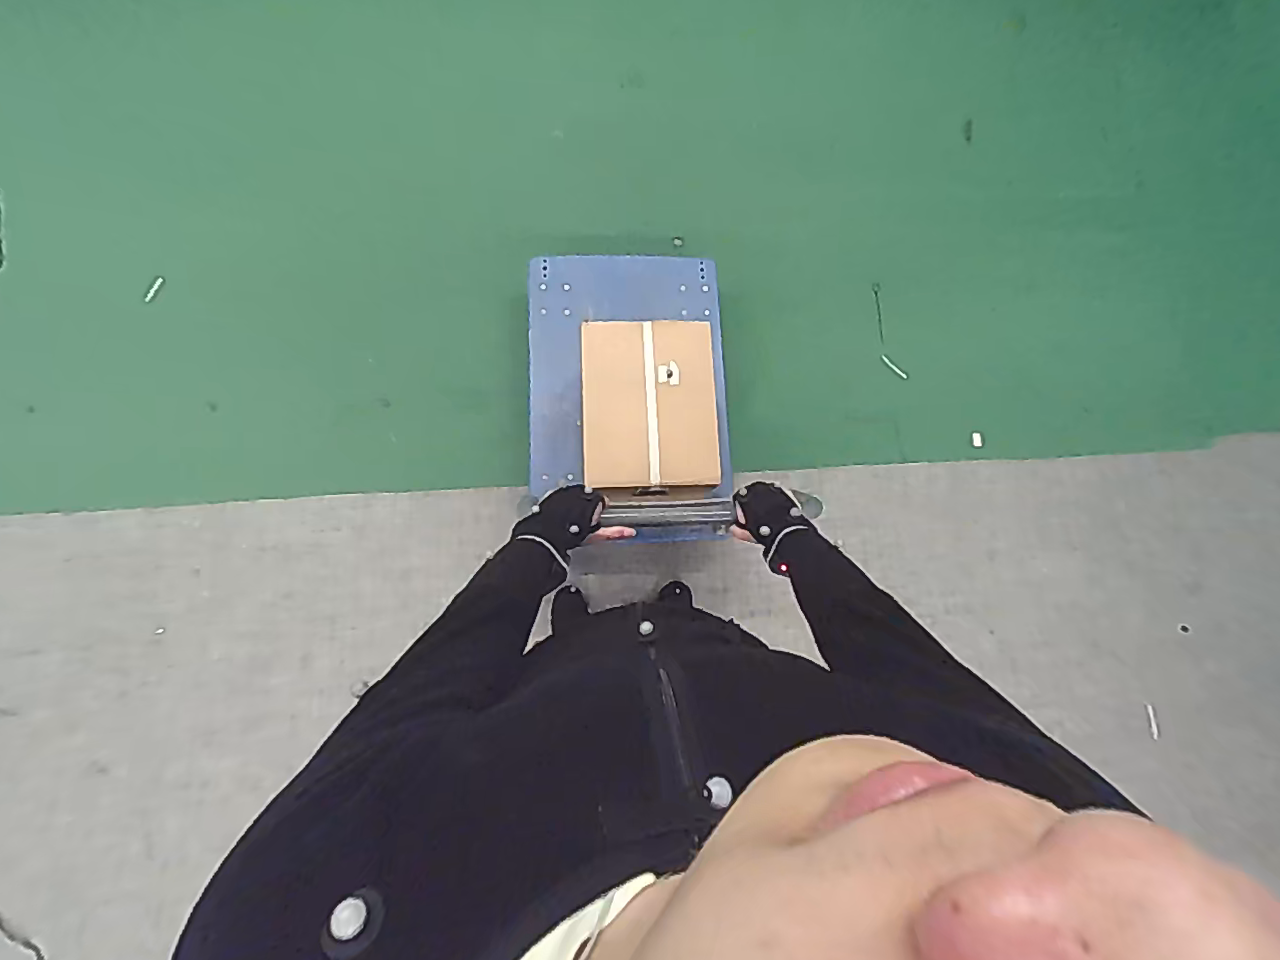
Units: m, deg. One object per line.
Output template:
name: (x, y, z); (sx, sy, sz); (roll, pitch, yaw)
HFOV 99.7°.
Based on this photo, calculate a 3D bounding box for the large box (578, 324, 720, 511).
large box: (0.006, -0.146, 1.398); (0.320, 0.320, 0.408); (-2, 78, -6)
